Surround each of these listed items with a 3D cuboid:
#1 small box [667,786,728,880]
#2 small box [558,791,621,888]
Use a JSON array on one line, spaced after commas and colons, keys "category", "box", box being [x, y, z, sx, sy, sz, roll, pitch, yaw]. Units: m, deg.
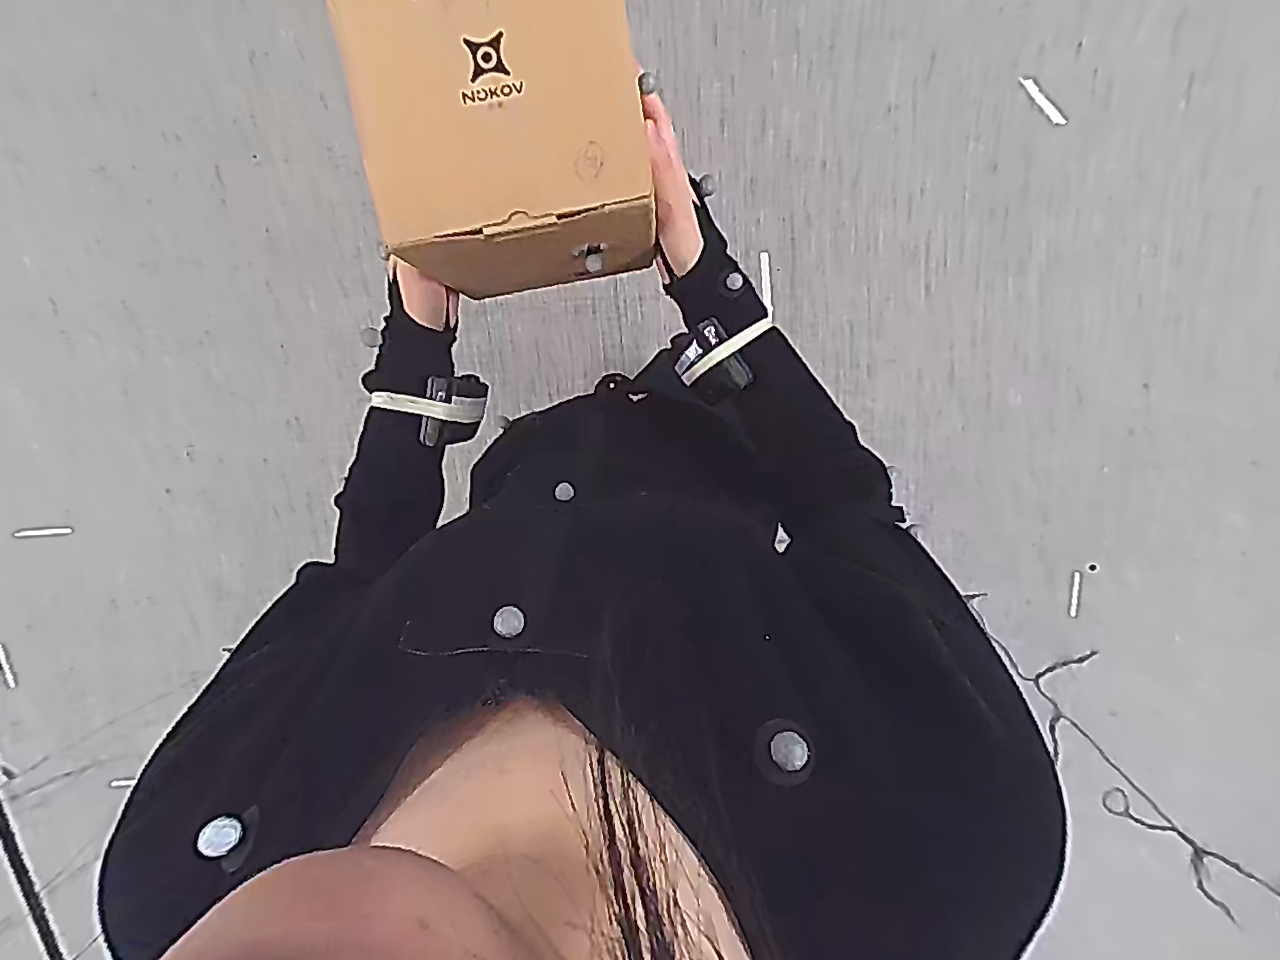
[{"category": "small box", "box": [0.170, 1.060, 1.632, 0.168, 0.176, 0.179, -2, 103, -1]}, {"category": "small box", "box": [-0.147, 1.078, 1.627, 0.168, 0.176, 0.179, -5, 101, -1]}]
